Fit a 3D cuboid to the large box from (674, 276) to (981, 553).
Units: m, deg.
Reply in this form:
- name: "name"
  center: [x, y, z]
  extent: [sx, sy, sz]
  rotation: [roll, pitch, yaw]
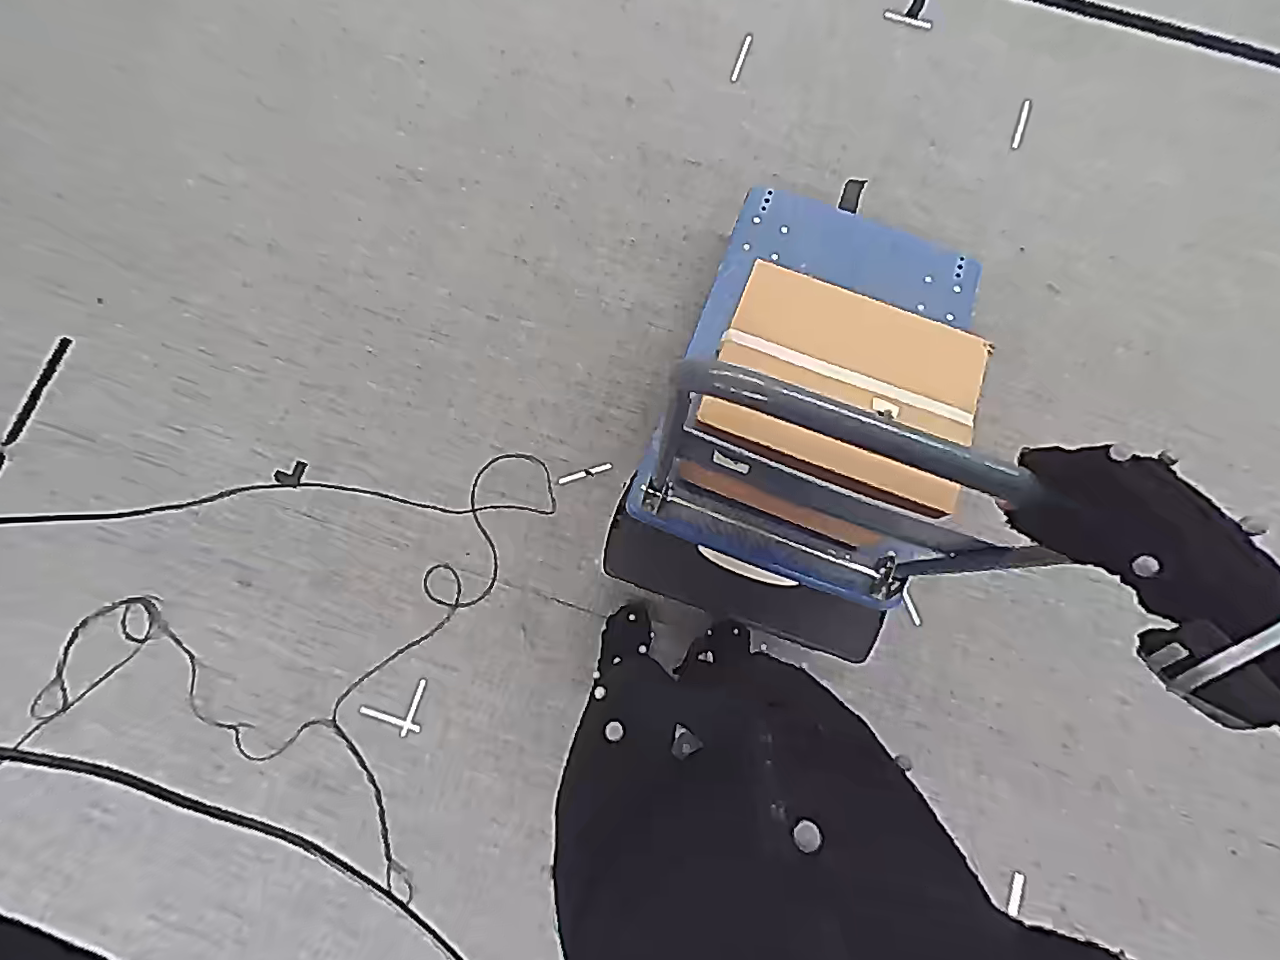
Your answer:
- name: "large box"
  center: [0.308, -0.096, 0.984]
  extent: [0.408, 0.320, 0.320]
  rotation: [21, 74, 3]
